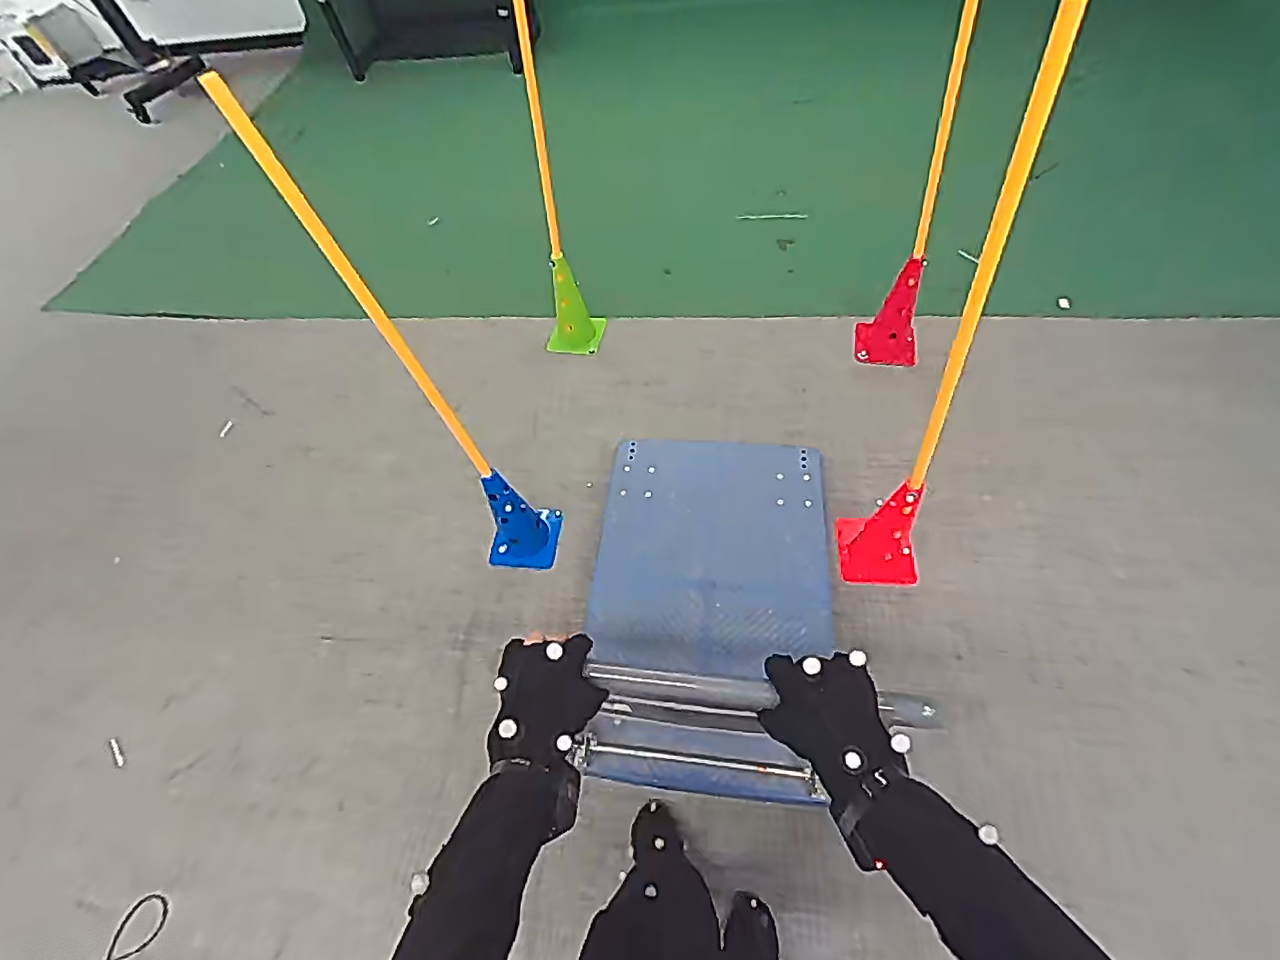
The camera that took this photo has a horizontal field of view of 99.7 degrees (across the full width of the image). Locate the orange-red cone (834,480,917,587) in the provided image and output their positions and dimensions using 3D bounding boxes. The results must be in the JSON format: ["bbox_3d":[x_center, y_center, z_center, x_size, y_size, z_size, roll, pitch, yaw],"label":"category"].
[{"bbox_3d":[0.633,0.112,1.379,0.199,0.360,0.198,1,57,10],"label":"orange-red cone"}]

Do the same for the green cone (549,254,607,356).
[{"bbox_3d":[-0.261,-0.655,1.973,0.202,0.368,0.200,6,58,11],"label":"green cone"}]
